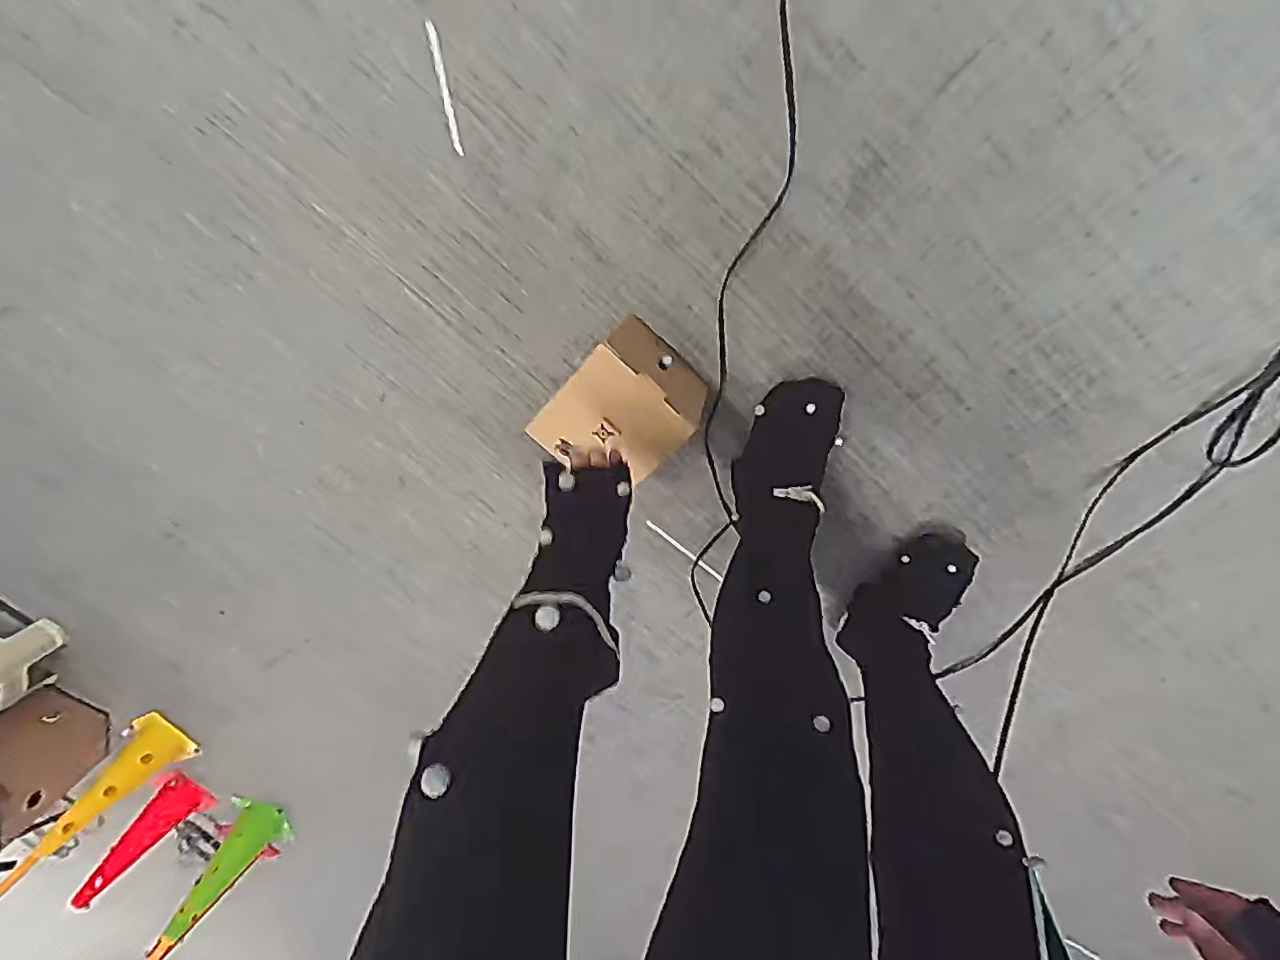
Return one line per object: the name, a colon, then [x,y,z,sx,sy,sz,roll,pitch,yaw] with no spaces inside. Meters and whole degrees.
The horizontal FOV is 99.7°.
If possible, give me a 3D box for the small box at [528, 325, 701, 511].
small box: [-0.026,-0.096,0.780,0.168,0.176,0.179,42,118,-12]
